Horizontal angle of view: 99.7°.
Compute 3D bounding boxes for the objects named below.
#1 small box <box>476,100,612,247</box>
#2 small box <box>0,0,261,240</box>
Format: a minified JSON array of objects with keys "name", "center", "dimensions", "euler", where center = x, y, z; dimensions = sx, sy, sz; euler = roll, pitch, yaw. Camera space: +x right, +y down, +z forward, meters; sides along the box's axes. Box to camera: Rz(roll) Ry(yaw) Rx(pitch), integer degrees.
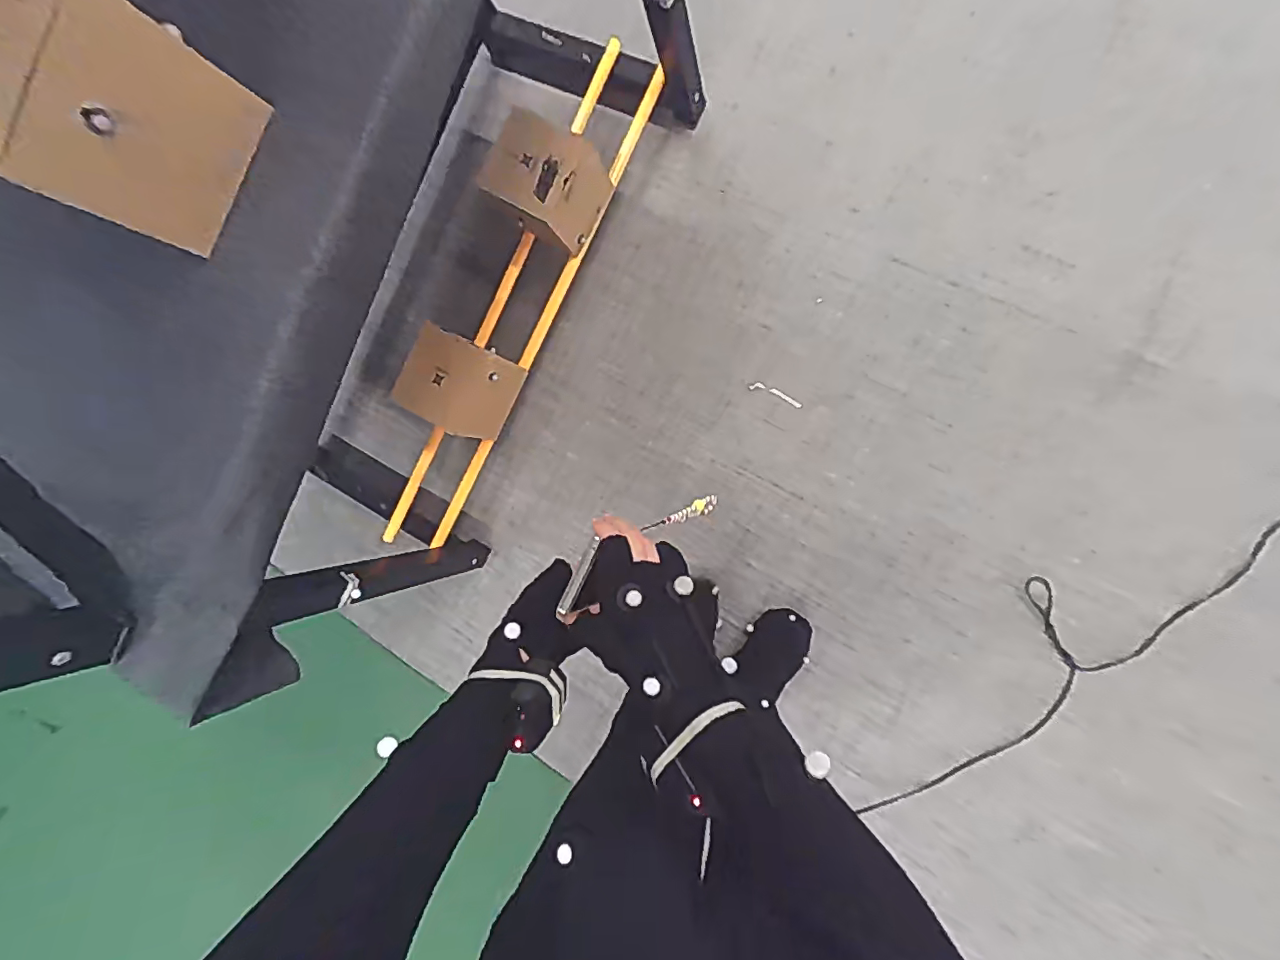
[{"name":"small box","center":[-0.179,-0.589,1.066],"dimensions":[0.179,0.176,0.168],"euler":[32,97,13]},{"name":"small box","center":[-0.508,-0.361,0.507],"dimensions":[0.168,0.176,0.179],"euler":[32,98,13]}]
